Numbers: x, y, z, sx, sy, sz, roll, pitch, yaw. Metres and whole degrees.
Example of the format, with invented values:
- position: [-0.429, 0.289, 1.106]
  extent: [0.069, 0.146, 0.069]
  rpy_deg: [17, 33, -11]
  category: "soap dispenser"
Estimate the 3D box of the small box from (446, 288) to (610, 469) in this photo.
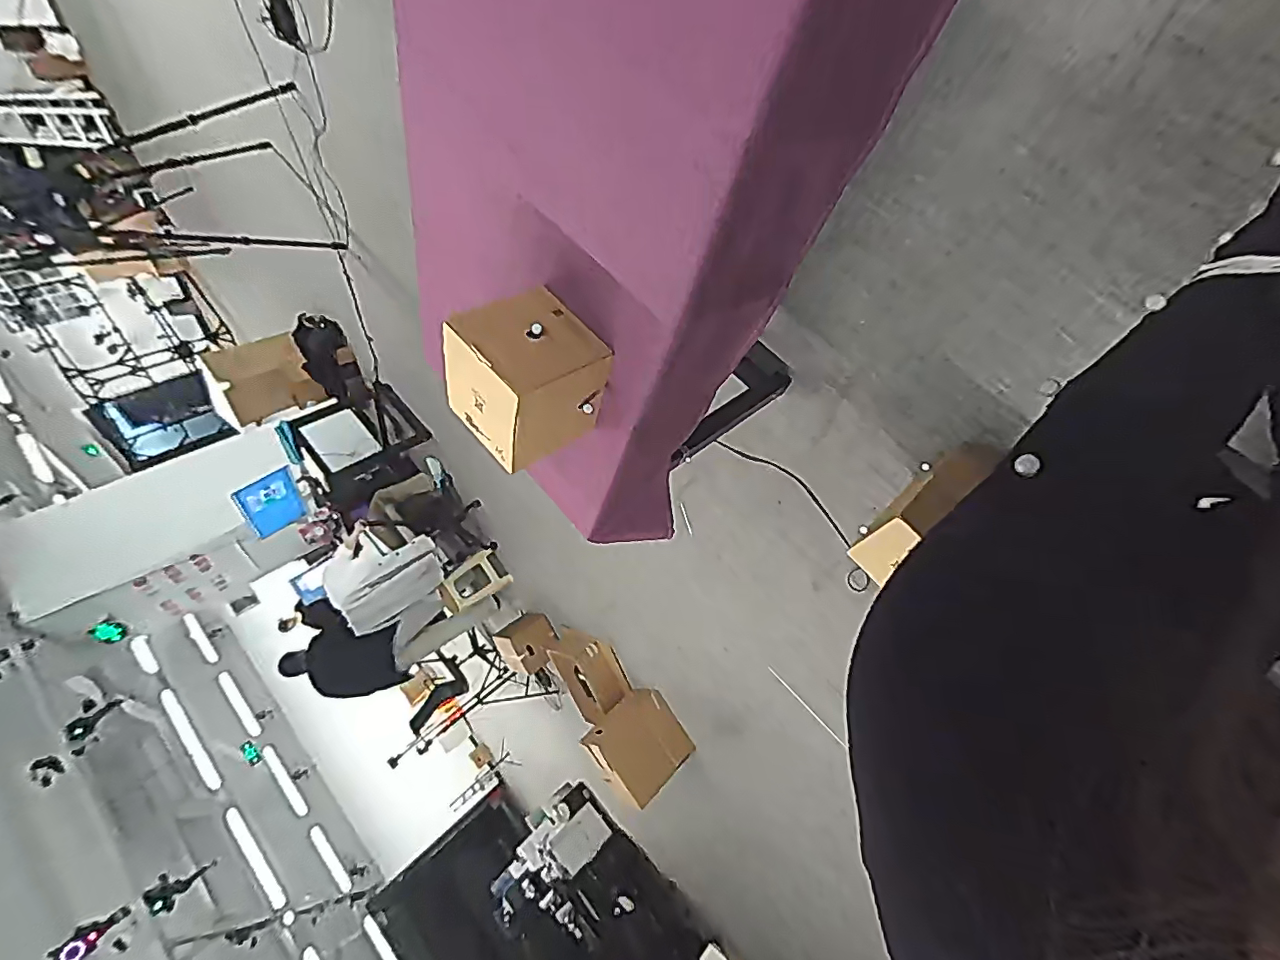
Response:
- position: [-0.167, -0.155, 0.806]
  extent: [0.168, 0.176, 0.179]
  rpy_deg: [45, 145, 16]
  category: "small box"
